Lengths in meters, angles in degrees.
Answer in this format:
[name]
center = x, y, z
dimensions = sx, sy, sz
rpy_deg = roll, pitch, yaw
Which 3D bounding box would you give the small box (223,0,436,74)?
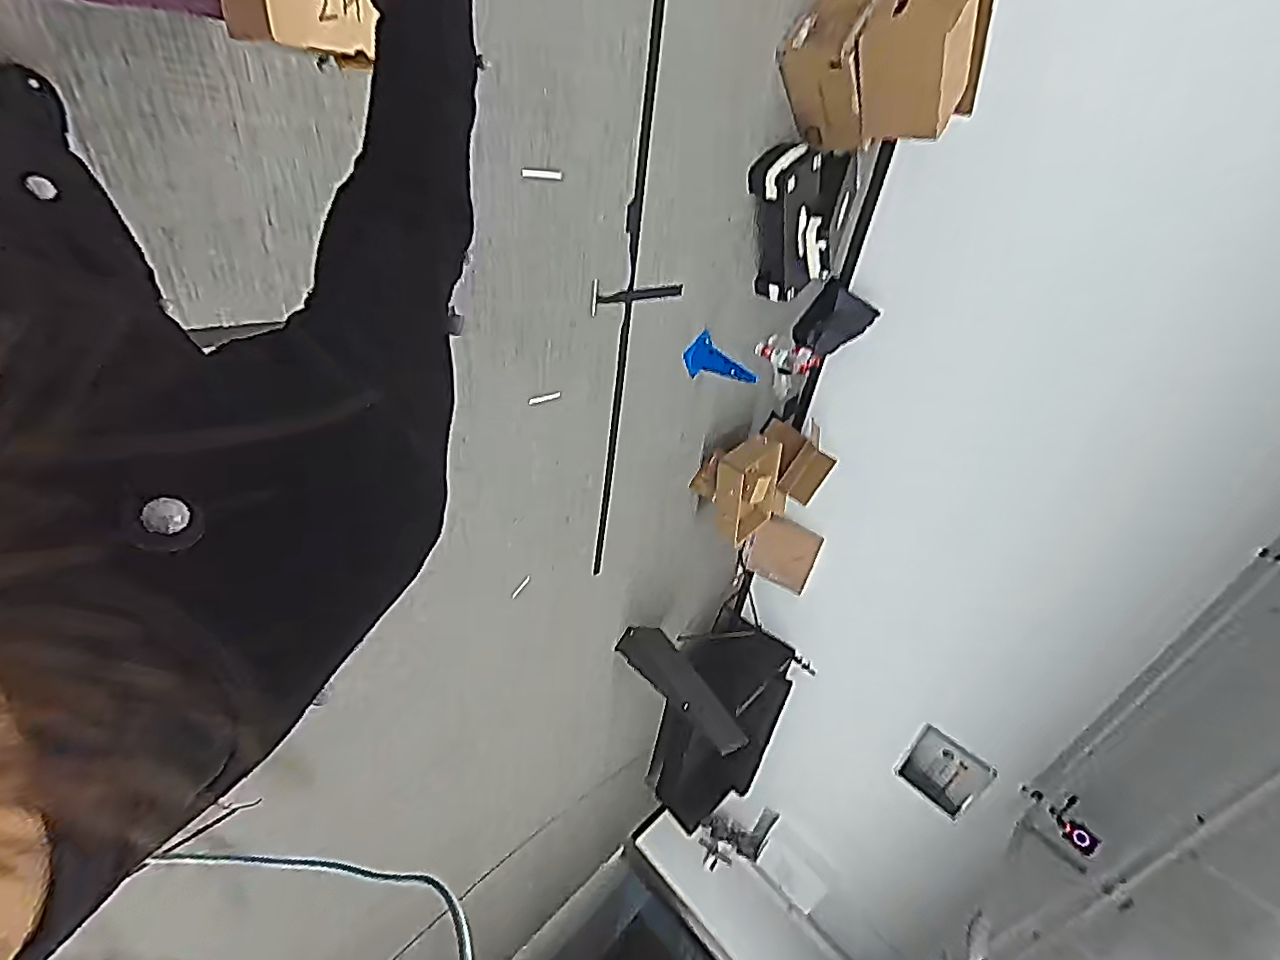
[small box]
center = -0.335, -0.552, 0.568
dimensions = 0.168, 0.176, 0.179
rpy_deg = -22, 134, -39
